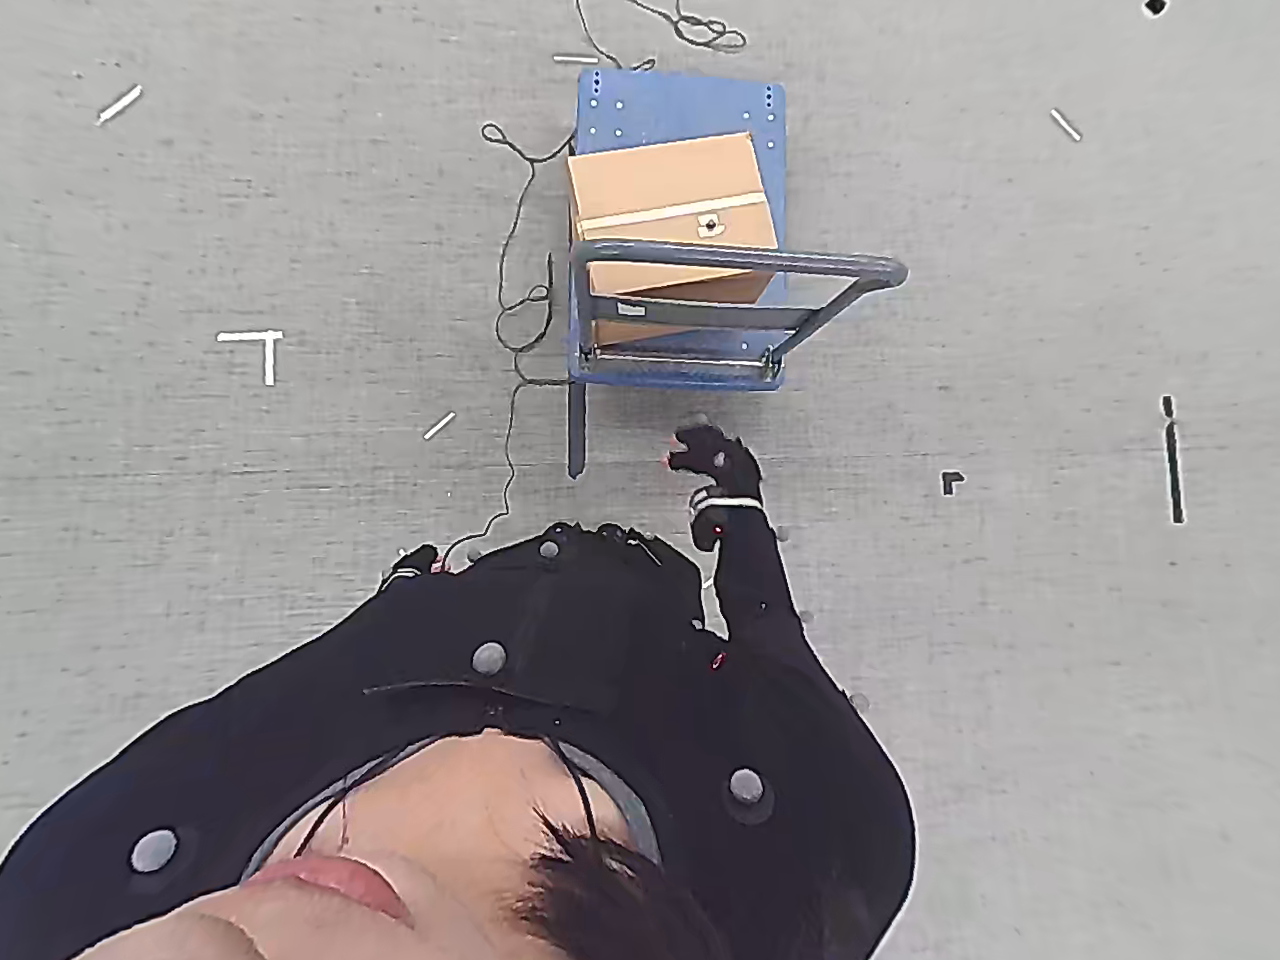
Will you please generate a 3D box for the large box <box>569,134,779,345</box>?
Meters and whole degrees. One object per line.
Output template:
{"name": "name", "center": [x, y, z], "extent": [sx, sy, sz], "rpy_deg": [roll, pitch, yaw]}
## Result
{"name": "large box", "center": [0.061, -0.552, 1.292], "extent": [0.408, 0.320, 0.320], "rpy_deg": [-12, 86, -6]}
